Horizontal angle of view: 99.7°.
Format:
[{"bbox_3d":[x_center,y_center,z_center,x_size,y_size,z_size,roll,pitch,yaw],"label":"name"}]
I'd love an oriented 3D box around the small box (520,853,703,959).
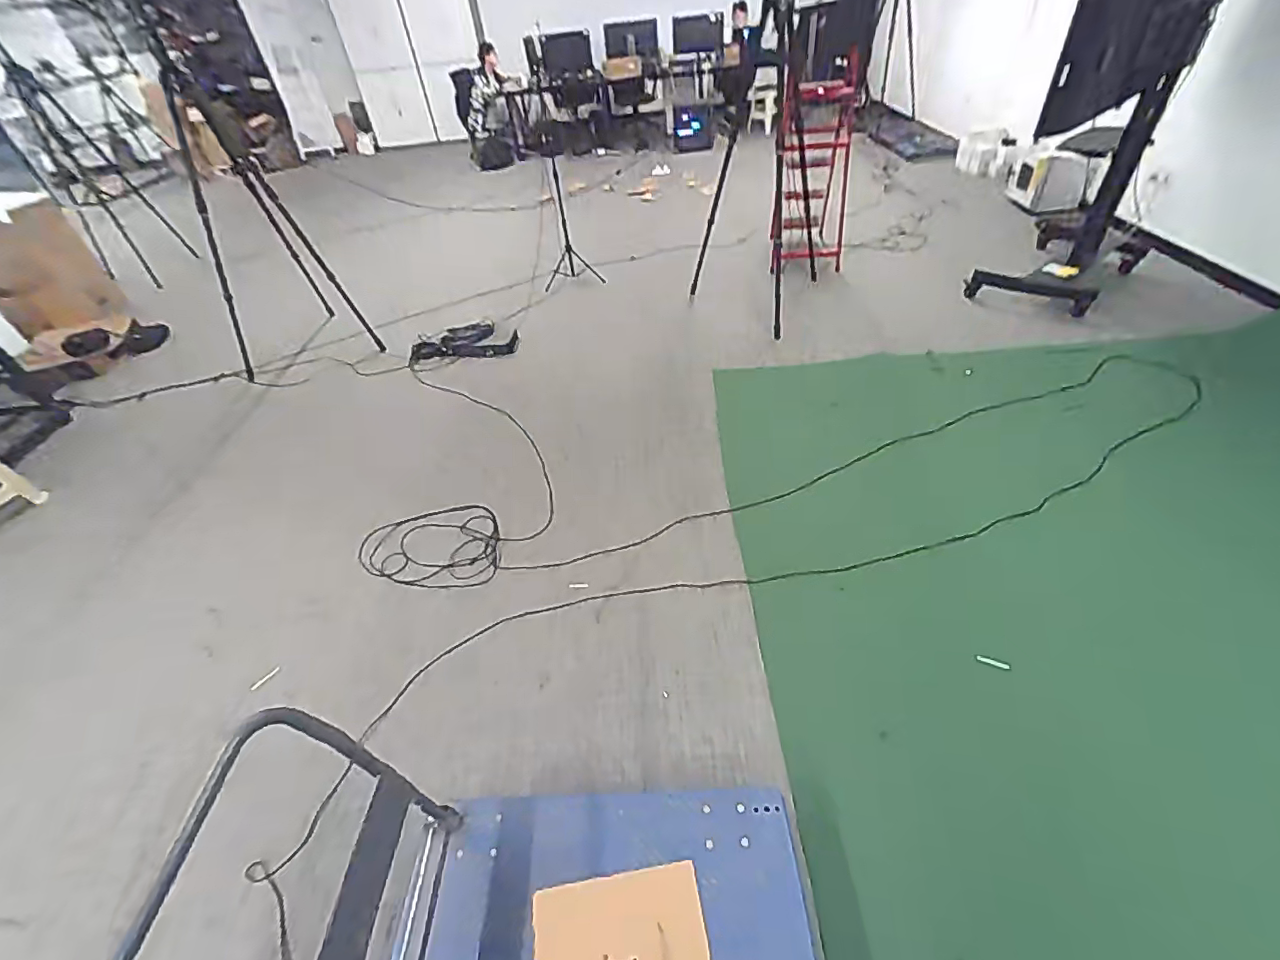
[{"bbox_3d":[-0.021,0.522,0.566,0.179,0.176,0.168,-8,43,-3],"label":"small box"}]
